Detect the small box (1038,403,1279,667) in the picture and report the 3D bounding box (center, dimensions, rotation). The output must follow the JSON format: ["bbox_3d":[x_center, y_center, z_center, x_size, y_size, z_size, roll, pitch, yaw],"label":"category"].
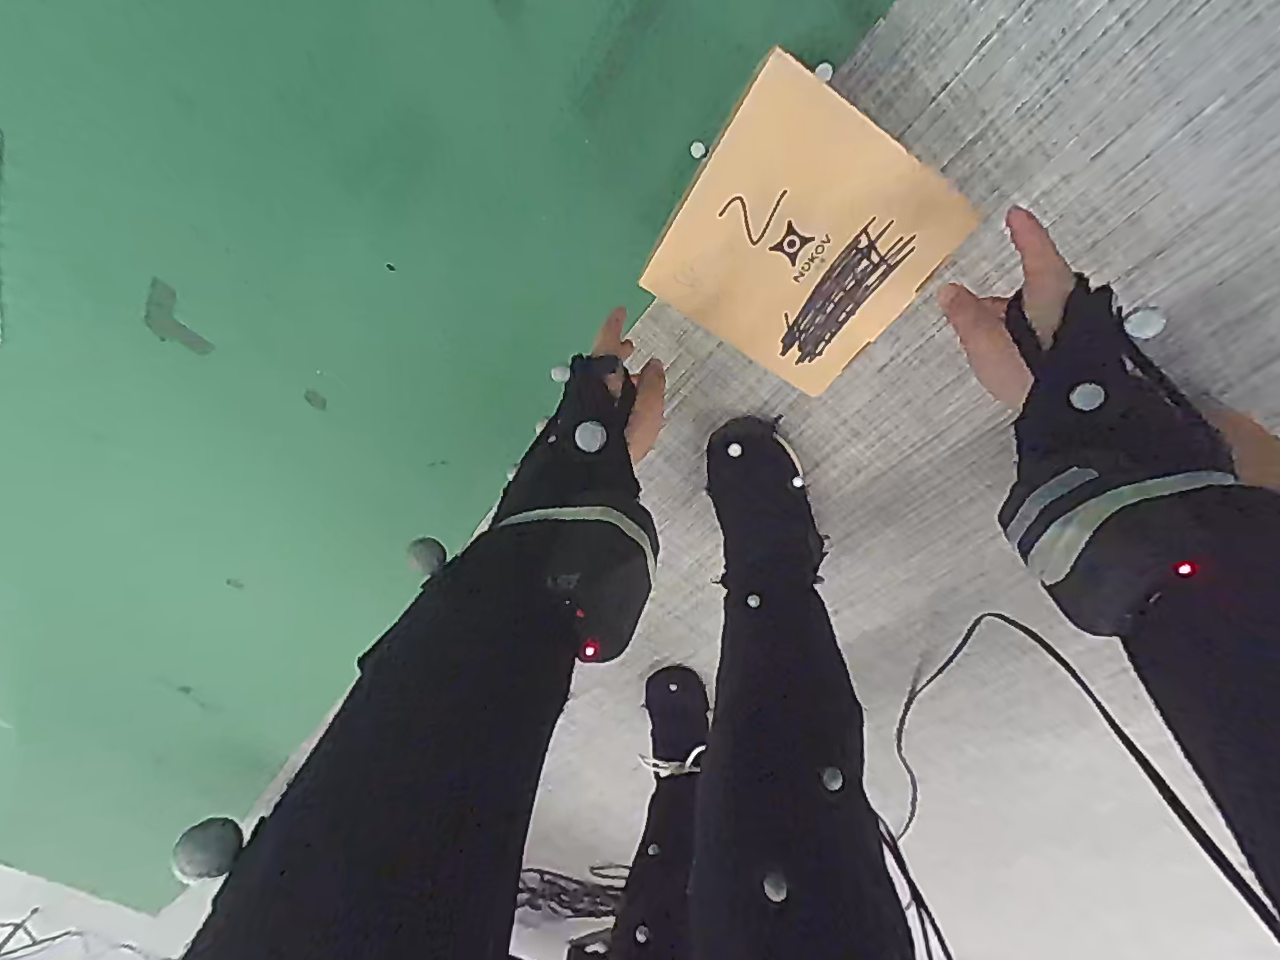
[{"bbox_3d":[0.571,0.053,0.559,0.168,0.176,0.179,39,122,-17],"label":"small box"}]
